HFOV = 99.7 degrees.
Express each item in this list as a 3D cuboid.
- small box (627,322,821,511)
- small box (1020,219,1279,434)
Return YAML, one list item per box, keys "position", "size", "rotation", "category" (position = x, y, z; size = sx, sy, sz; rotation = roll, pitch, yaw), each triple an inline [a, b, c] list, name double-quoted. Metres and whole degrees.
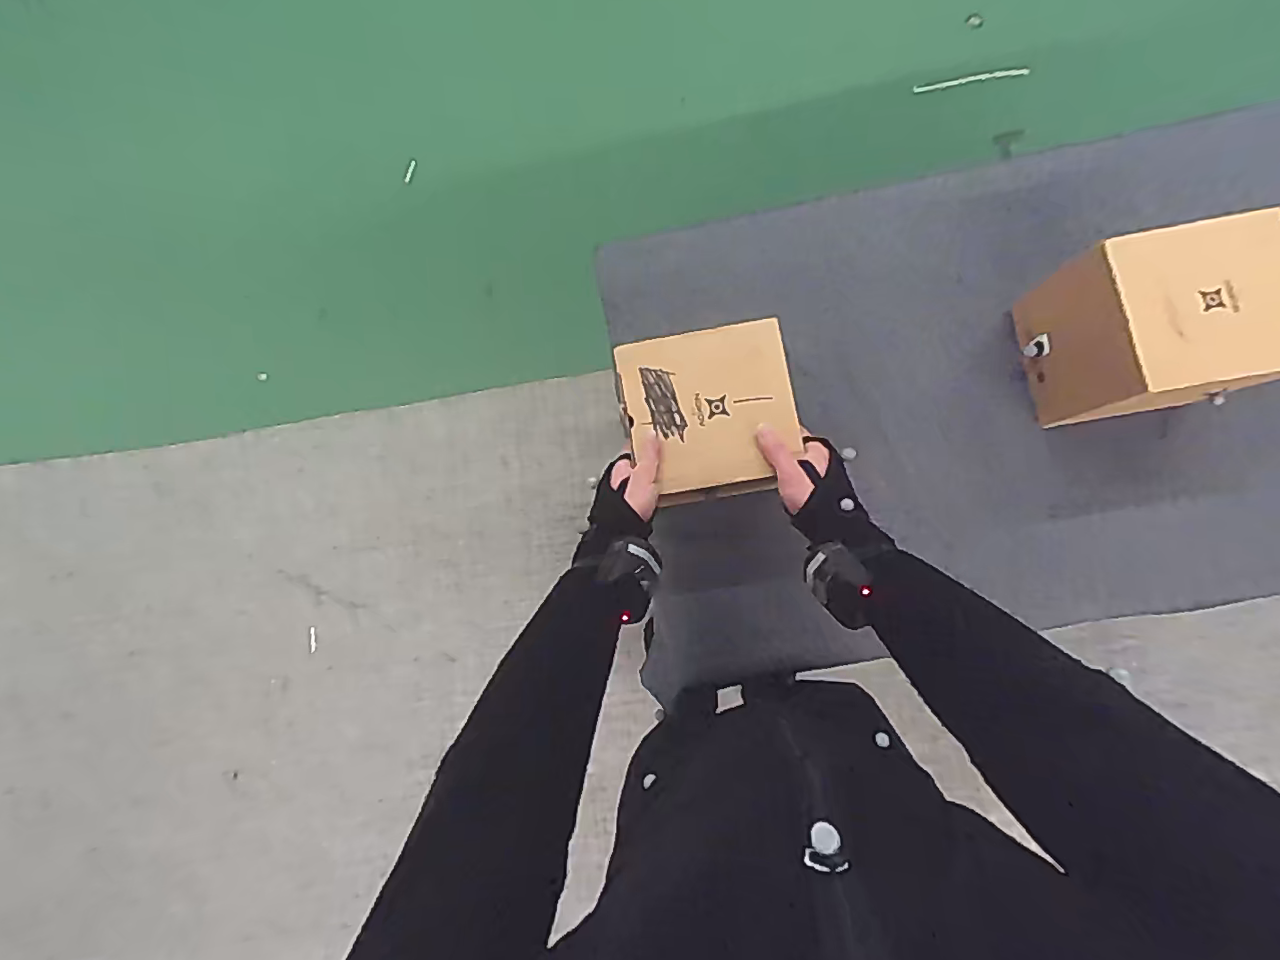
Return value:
- position: [0.087, -0.060, 0.625]
  size: [0.179, 0.176, 0.168]
  rotation: [-9, 83, 1]
  category: "small box"
- position: [0.583, -0.159, 0.609]
  size: [0.179, 0.176, 0.168]
  rotation: [-10, 82, 4]
  category: "small box"
